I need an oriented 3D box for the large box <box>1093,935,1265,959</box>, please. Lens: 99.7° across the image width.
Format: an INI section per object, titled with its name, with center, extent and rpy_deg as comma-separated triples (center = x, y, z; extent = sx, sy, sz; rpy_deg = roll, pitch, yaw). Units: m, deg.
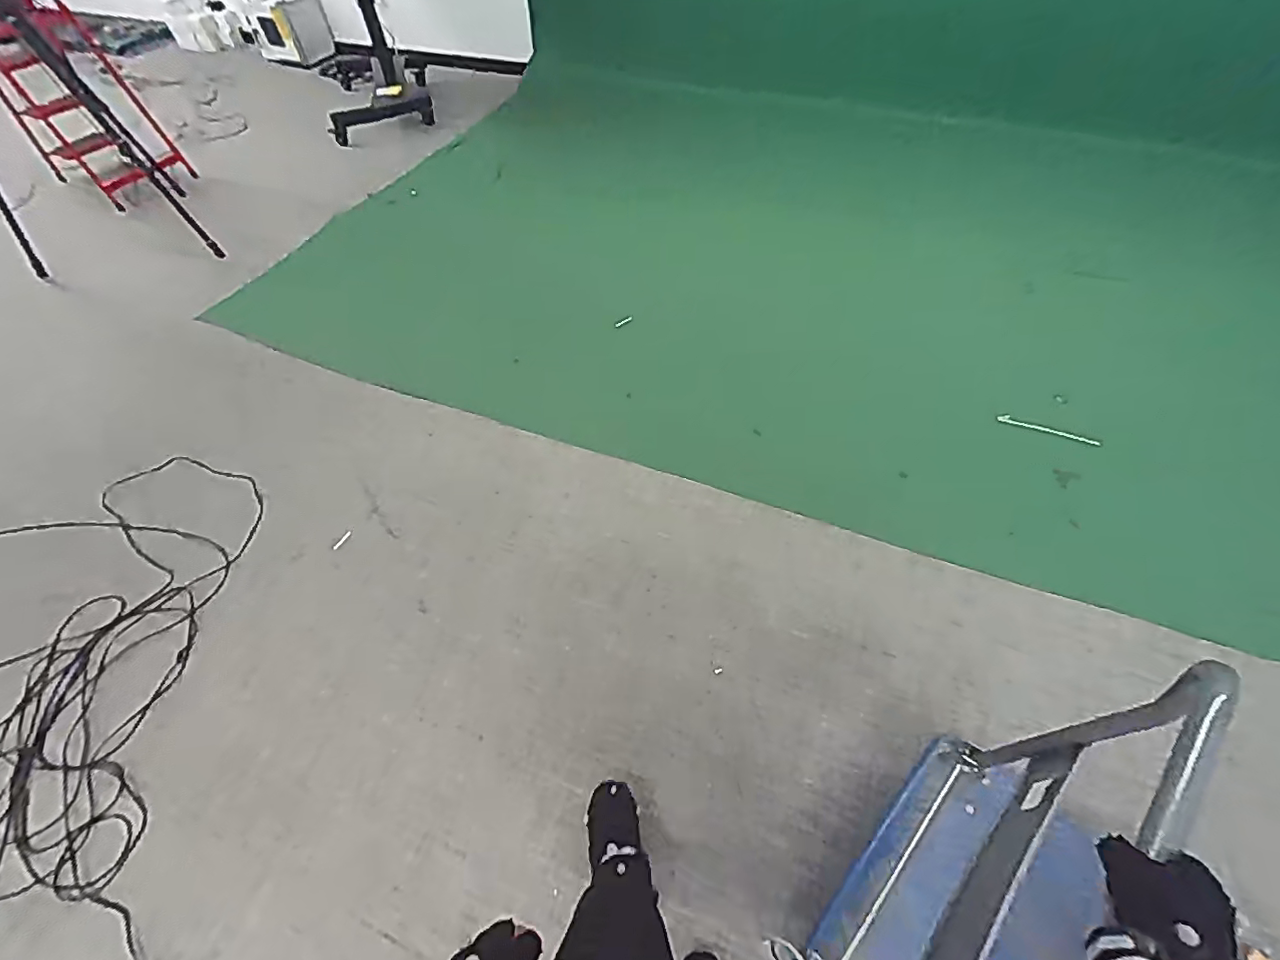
[large box]
center = 0.796, 0.910, 0.691
extent = 0.320, 0.320, 0.408
rpy_deg = 35, 61, 24
